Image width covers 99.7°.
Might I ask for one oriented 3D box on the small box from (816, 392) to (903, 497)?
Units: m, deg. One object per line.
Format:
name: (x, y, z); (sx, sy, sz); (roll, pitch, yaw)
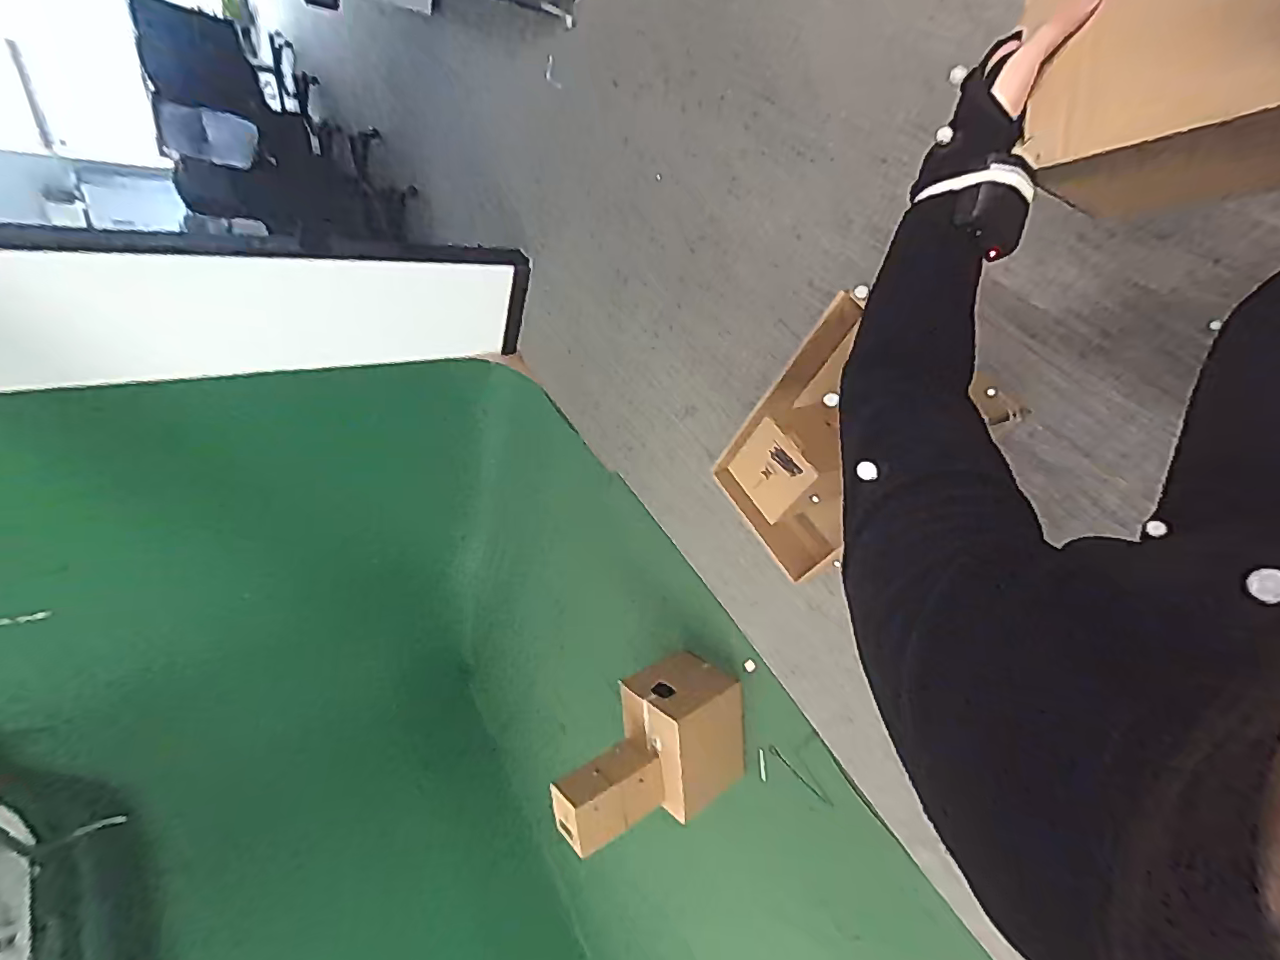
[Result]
small box: (0.471, -0.083, 1.267); (0.168, 0.176, 0.179); (55, 140, 24)

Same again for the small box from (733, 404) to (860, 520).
small box: (0.344, -0.045, 1.170); (0.168, 0.176, 0.179); (56, 141, 23)
